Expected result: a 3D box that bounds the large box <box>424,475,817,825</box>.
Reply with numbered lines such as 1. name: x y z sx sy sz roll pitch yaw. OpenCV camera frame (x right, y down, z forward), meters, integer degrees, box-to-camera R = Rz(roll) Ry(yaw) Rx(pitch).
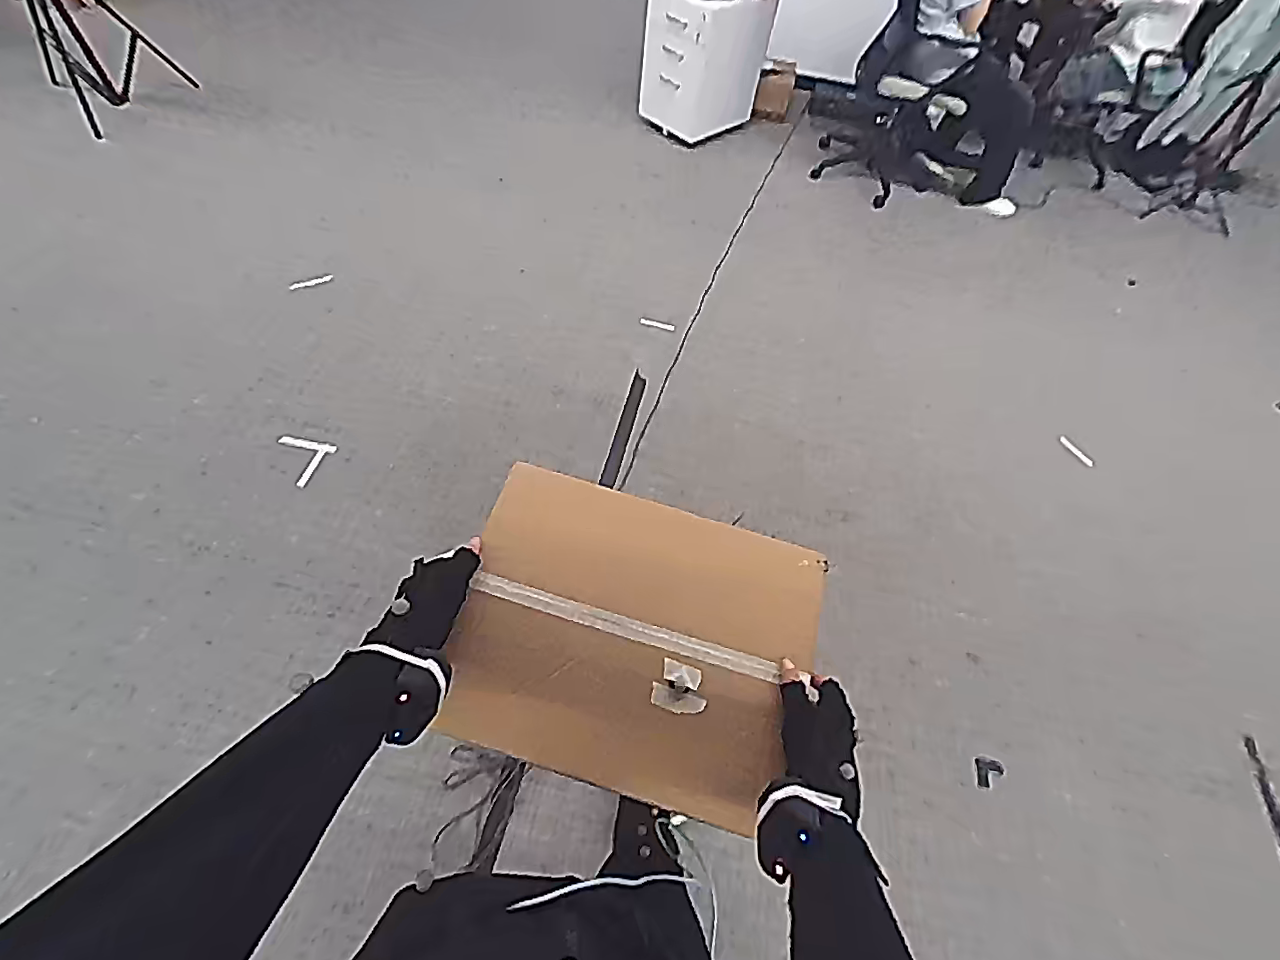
1. large box: -0.017 0.239 0.762 0.408 0.320 0.320 17 64 3
